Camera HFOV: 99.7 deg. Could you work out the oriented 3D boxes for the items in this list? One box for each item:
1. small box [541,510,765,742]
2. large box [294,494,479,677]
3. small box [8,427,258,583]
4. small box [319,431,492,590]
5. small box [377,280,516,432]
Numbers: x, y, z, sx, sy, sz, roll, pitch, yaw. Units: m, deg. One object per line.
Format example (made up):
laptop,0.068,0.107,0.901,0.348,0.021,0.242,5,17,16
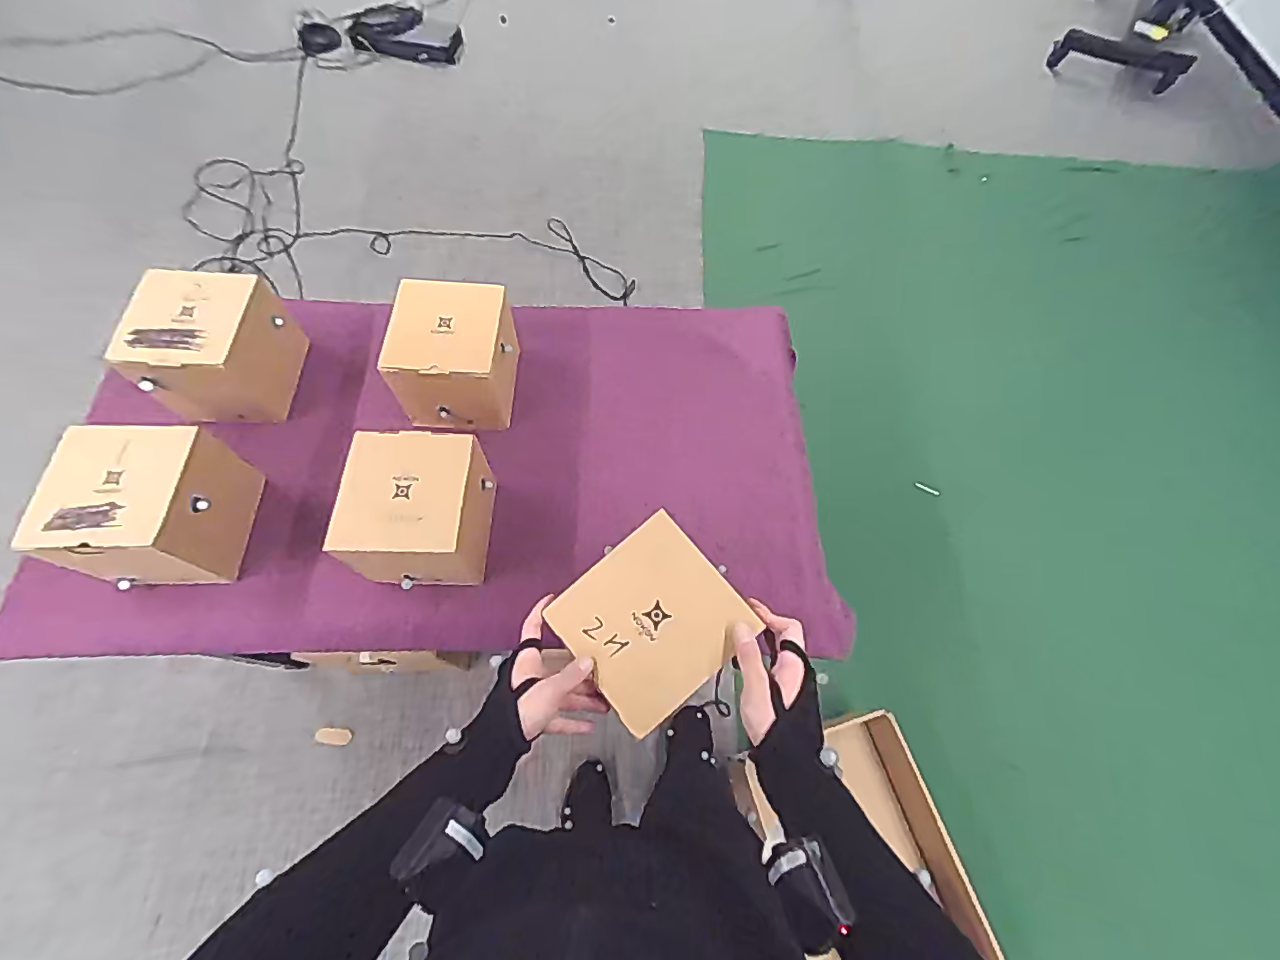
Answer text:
small box,0.018,0.162,0.630,0.179,0.176,0.168,-41,75,-4
large box,-0.605,0.276,1.385,0.320,0.320,0.408,1,64,-4
small box,-0.680,0.043,0.757,0.168,0.176,0.179,0,63,-4
small box,-0.318,0.049,0.778,0.168,0.176,0.179,2,64,-2
small box,-0.305,-0.200,0.895,0.168,0.176,0.179,3,66,-3
